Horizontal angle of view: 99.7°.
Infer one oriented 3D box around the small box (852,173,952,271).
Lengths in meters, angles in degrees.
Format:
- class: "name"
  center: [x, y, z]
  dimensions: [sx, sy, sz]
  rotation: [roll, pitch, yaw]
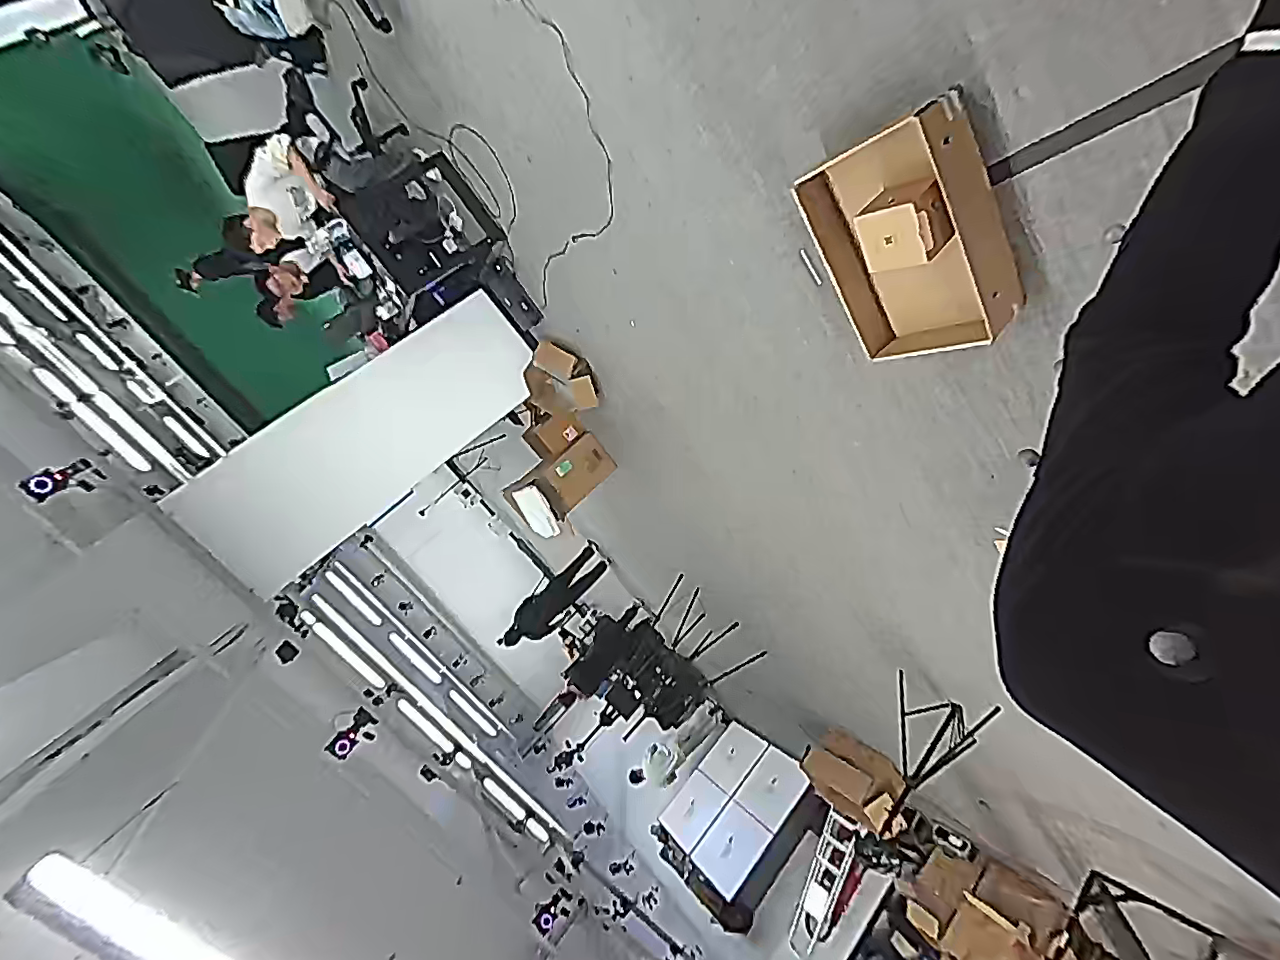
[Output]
- class: "small box"
  center: [0.714, -0.694, 1.459]
  dimensions: [0.179, 0.176, 0.168]
  rotation: [16, 144, 53]
